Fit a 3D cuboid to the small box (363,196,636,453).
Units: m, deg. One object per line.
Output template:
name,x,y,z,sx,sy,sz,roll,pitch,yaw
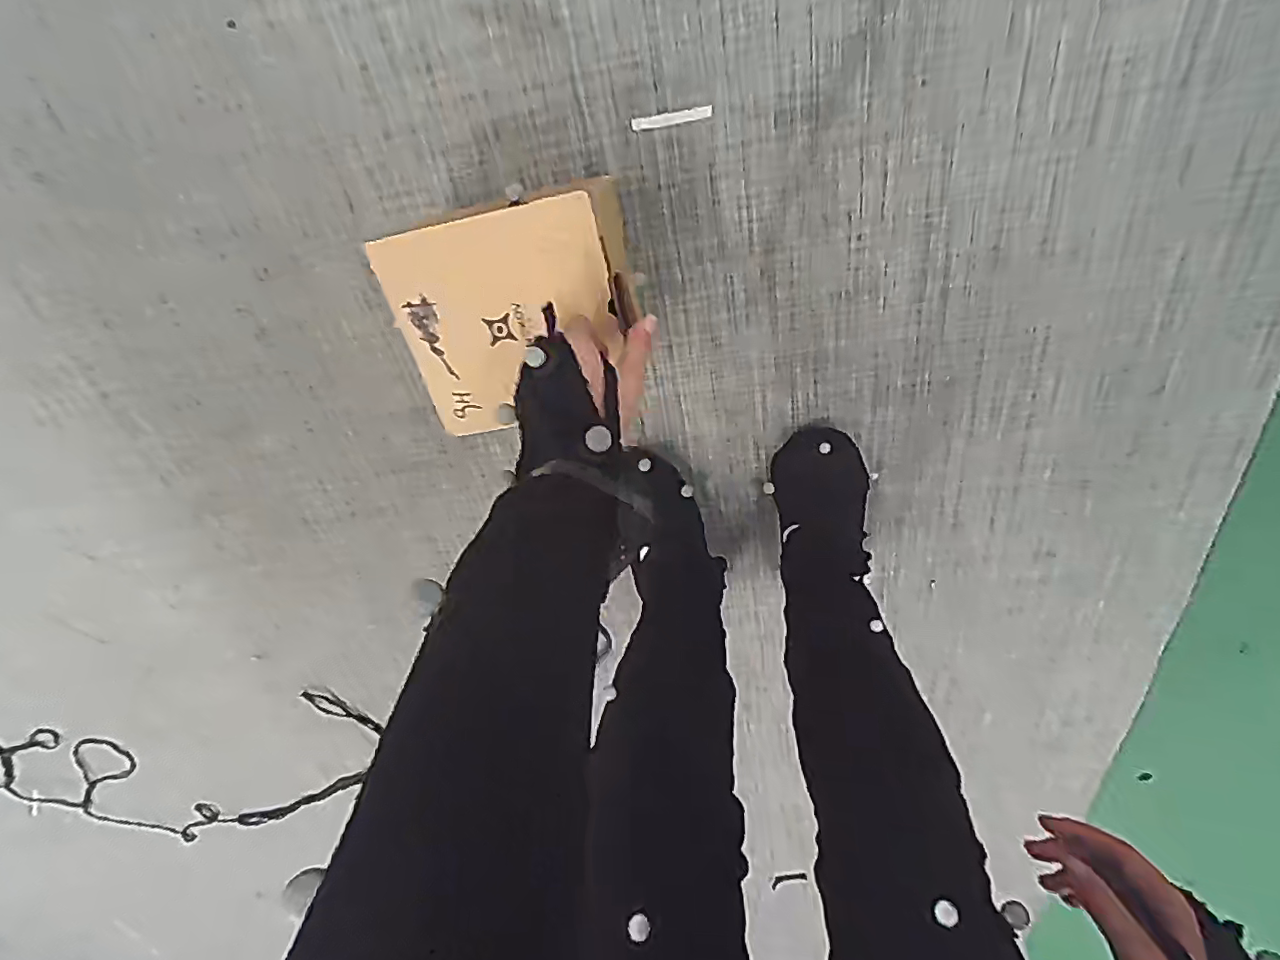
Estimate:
small box,-0.104,-0.148,0.495,0.179,0.176,0.168,-10,122,7
